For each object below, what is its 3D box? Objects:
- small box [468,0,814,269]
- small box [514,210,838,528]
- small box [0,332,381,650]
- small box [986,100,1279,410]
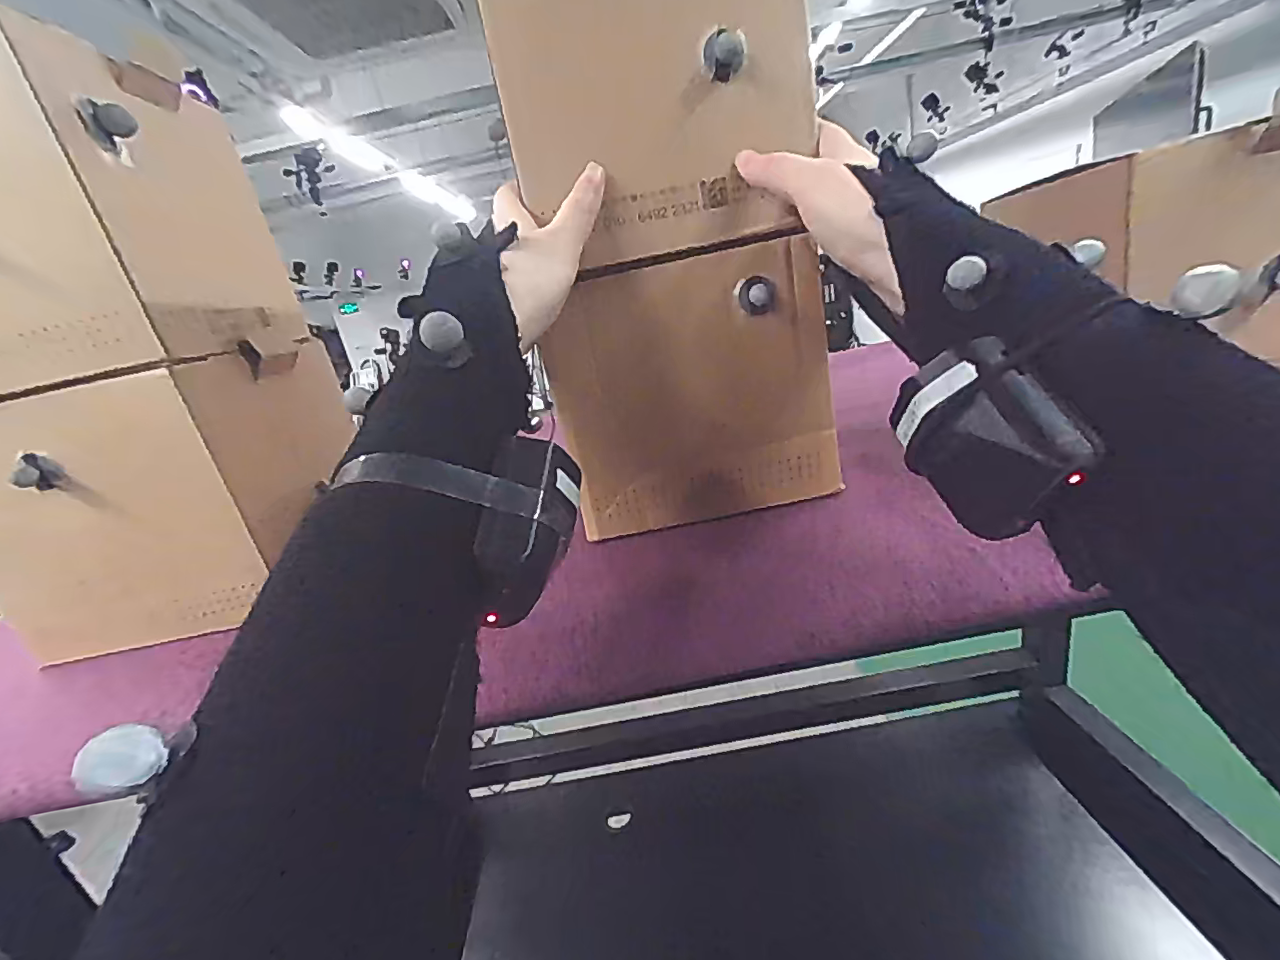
[{"bbox_3d":[0.001,-0.230,0.350,0.168,0.176,0.179,-11,16,-1],"label":"small box"},{"bbox_3d":[0.028,-0.077,0.399,0.179,0.176,0.168,-11,18,2],"label":"small box"},{"bbox_3d":[-0.327,0.000,0.391,0.179,0.176,0.168,-11,20,1],"label":"small box"},{"bbox_3d":[0.381,-0.155,0.388,0.168,0.176,0.179,-11,17,9],"label":"small box"}]
